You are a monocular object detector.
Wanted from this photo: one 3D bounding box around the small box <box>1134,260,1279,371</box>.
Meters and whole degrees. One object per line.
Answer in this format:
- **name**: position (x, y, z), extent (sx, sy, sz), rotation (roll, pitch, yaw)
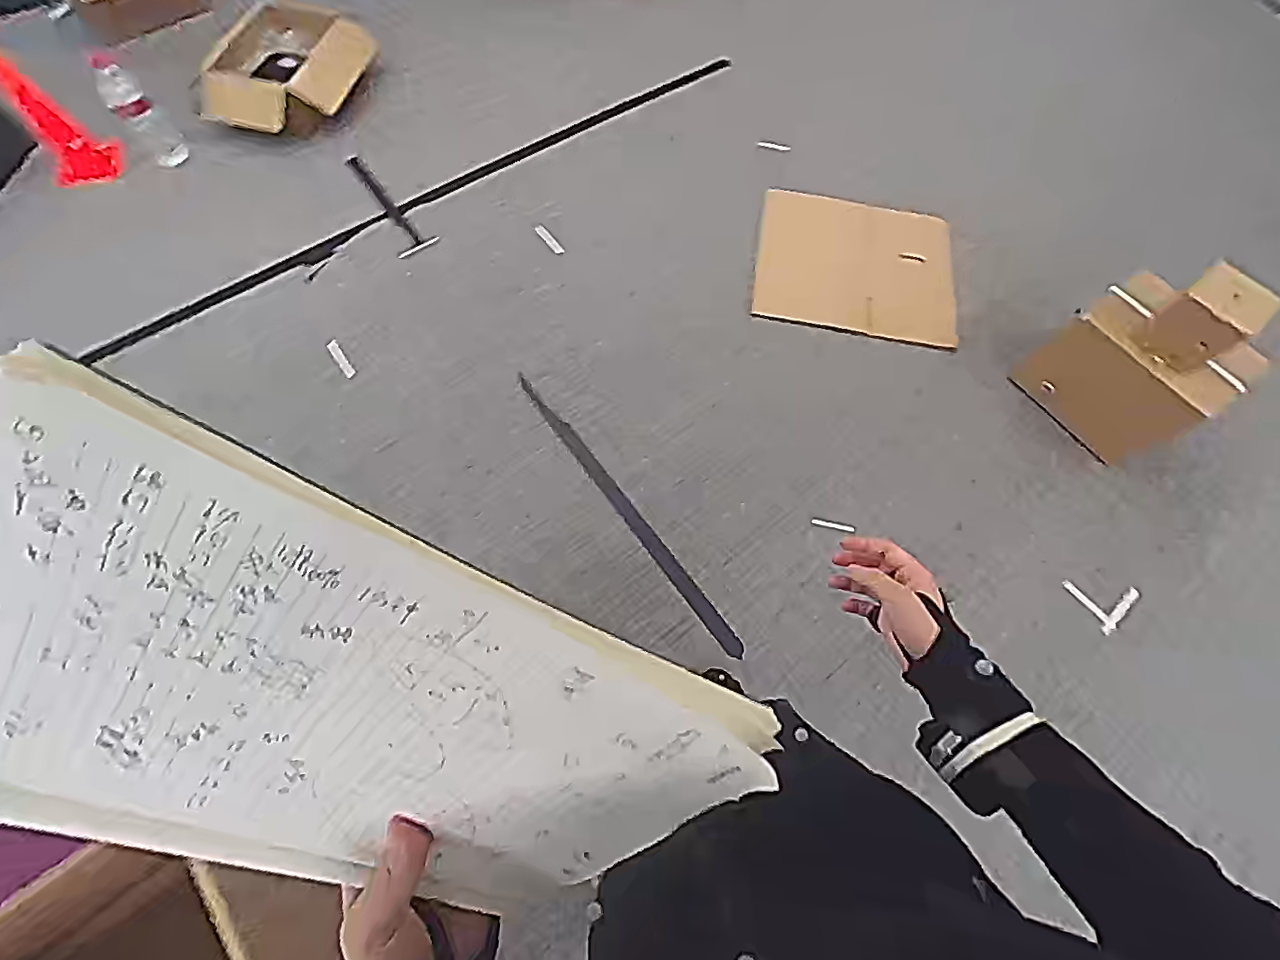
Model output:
- **small box**: position (1.429, -0.411, 1.378), extent (0.179, 0.176, 0.168), rotation (-39, 75, -17)
